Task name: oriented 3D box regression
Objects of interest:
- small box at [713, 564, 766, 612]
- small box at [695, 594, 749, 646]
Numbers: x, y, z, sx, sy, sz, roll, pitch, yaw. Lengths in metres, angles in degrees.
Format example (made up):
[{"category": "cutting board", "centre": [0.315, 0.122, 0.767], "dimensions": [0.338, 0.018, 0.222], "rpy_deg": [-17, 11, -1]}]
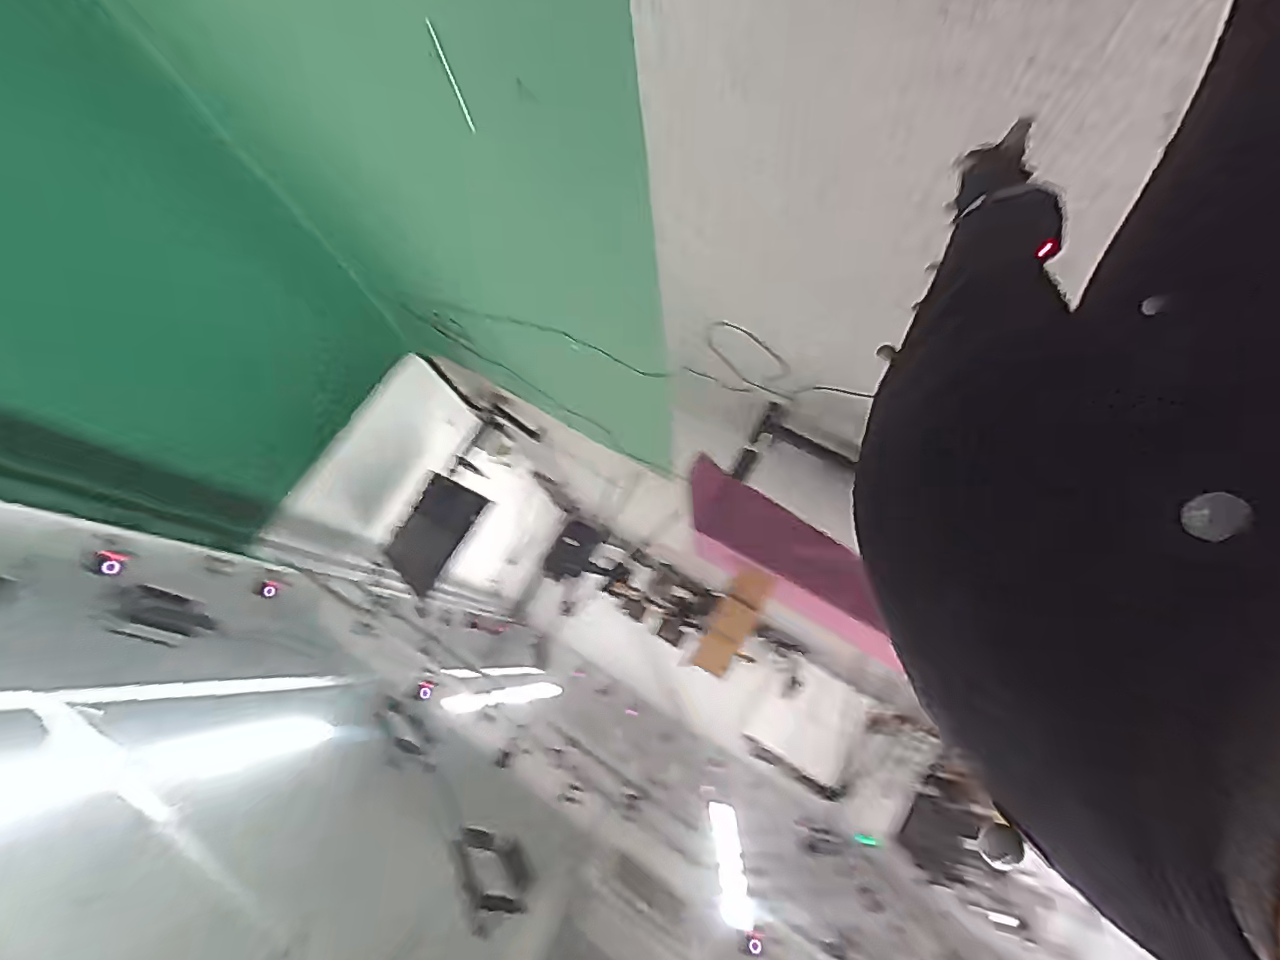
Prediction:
[{"category": "small box", "centre": [0.451, 0.494, 2.468], "dimensions": [0.179, 0.176, 0.168], "rpy_deg": [29, 167, 15]}, {"category": "small box", "centre": [0.365, 0.623, 2.415], "dimensions": [0.179, 0.176, 0.168], "rpy_deg": [29, 167, 13]}]
